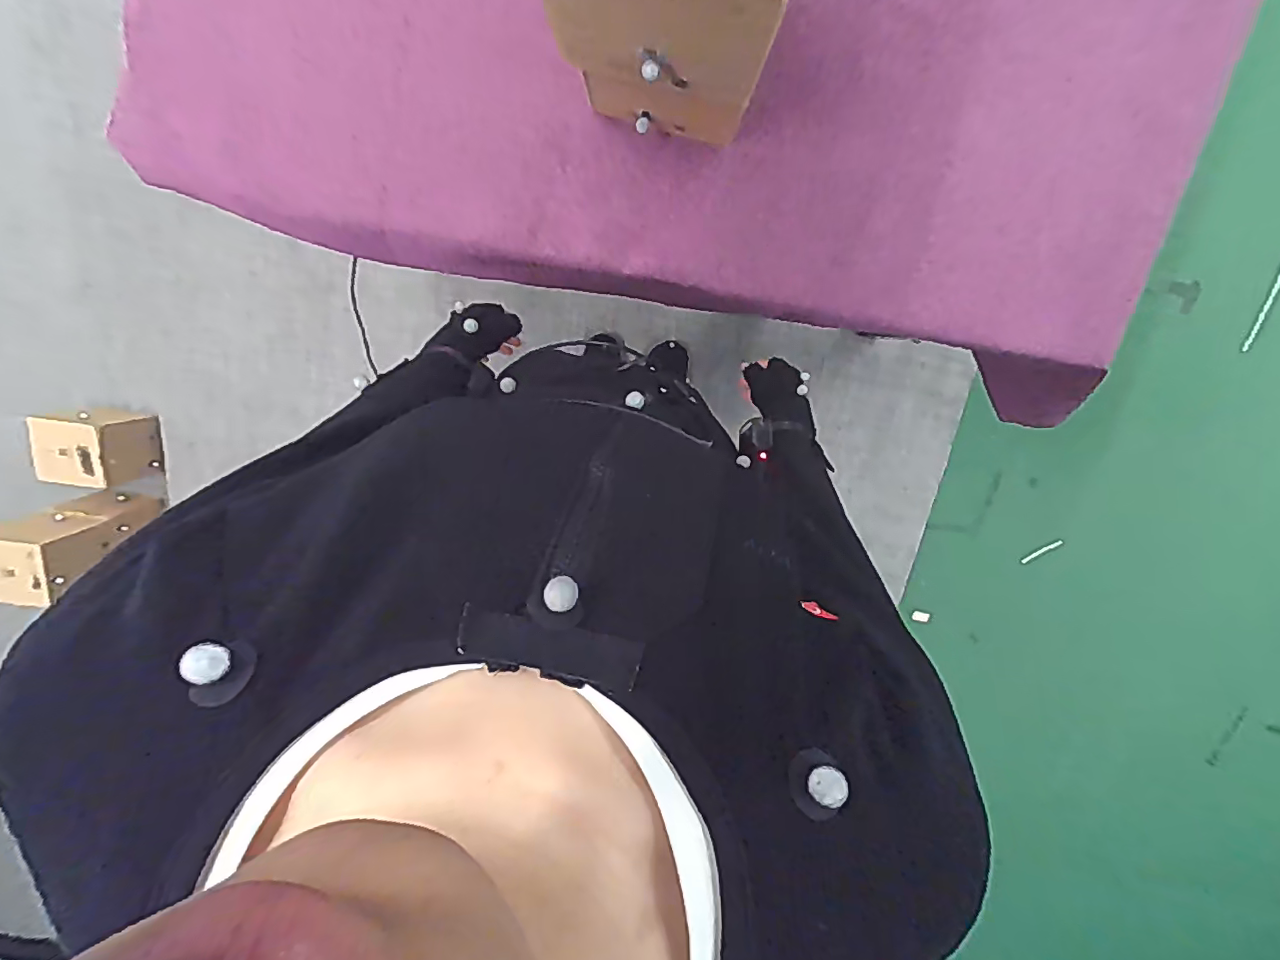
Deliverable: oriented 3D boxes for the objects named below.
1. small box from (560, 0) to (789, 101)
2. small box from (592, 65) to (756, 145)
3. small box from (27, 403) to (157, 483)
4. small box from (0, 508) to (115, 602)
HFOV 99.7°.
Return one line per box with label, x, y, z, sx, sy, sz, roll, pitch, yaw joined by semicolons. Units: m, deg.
small box;0.033;-0.407;0.372;0.168;0.176;0.179;13;106;-1
small box;0.046;-0.465;0.526;0.168;0.176;0.179;14;106;-2
small box;-1.416;-0.102;1.416;0.179;0.176;0.168;8;105;0
small box;-1.459;0.176;1.327;0.179;0.176;0.168;9;106;0
